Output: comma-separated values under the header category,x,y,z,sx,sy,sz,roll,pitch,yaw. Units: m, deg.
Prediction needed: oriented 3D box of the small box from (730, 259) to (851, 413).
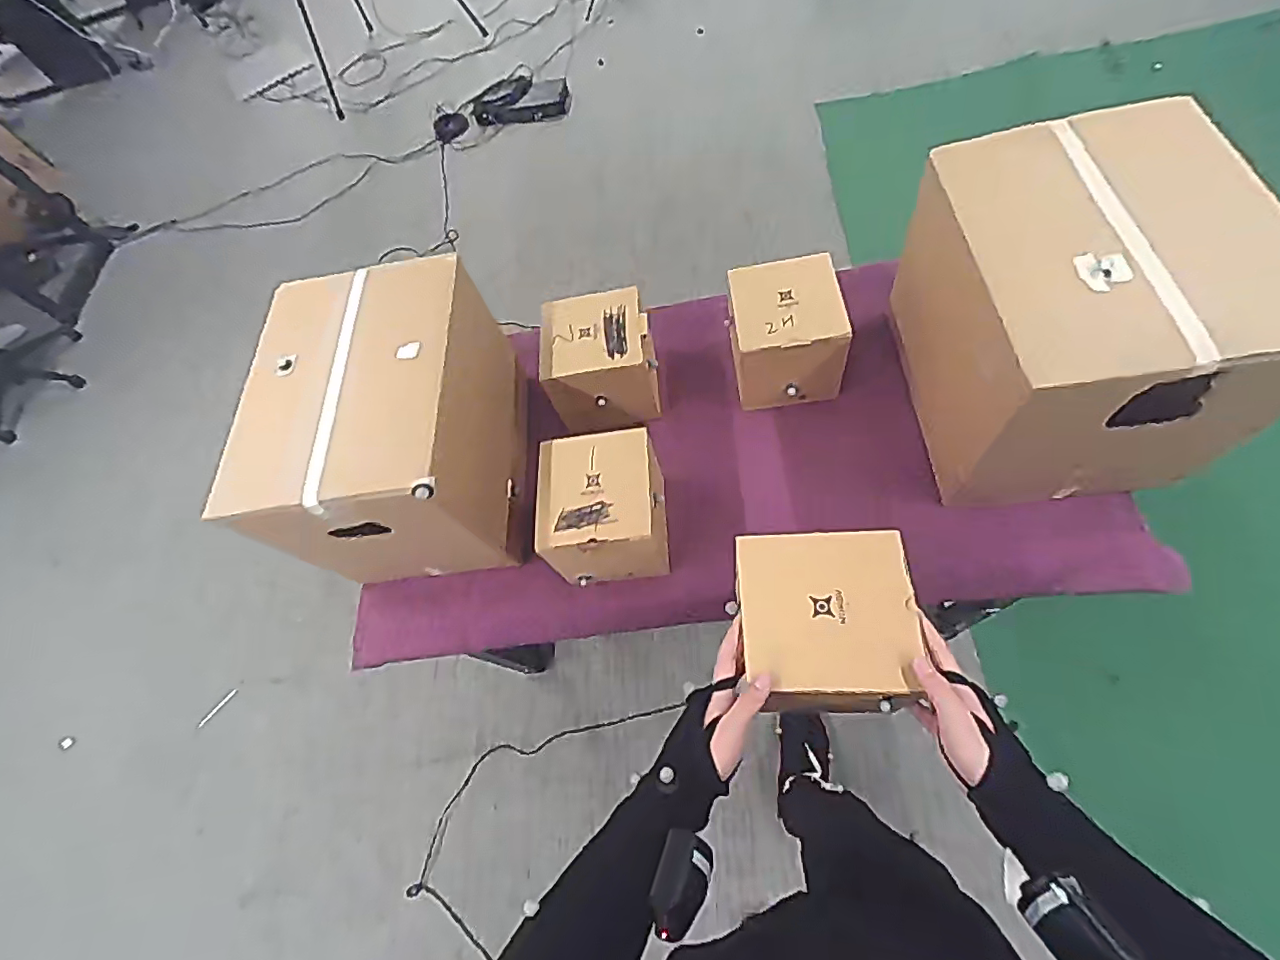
category,x,y,z,sx,sy,sz,roll,pitch,yaw
small box,0.242,-0.236,0.912,0.168,0.176,0.179,-7,63,9

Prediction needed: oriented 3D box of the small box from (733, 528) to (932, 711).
category,x,y,z,sx,sy,sz,roll,pitch,yaw
small box,0.200,0.166,0.619,0.179,0.176,0.168,-3,60,7

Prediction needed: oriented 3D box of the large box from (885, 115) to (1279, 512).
category,x,y,z,sx,sy,sz,roll,pitch,yaw
large box,0.574,-0.207,0.751,0.320,0.320,0.408,-7,63,10
